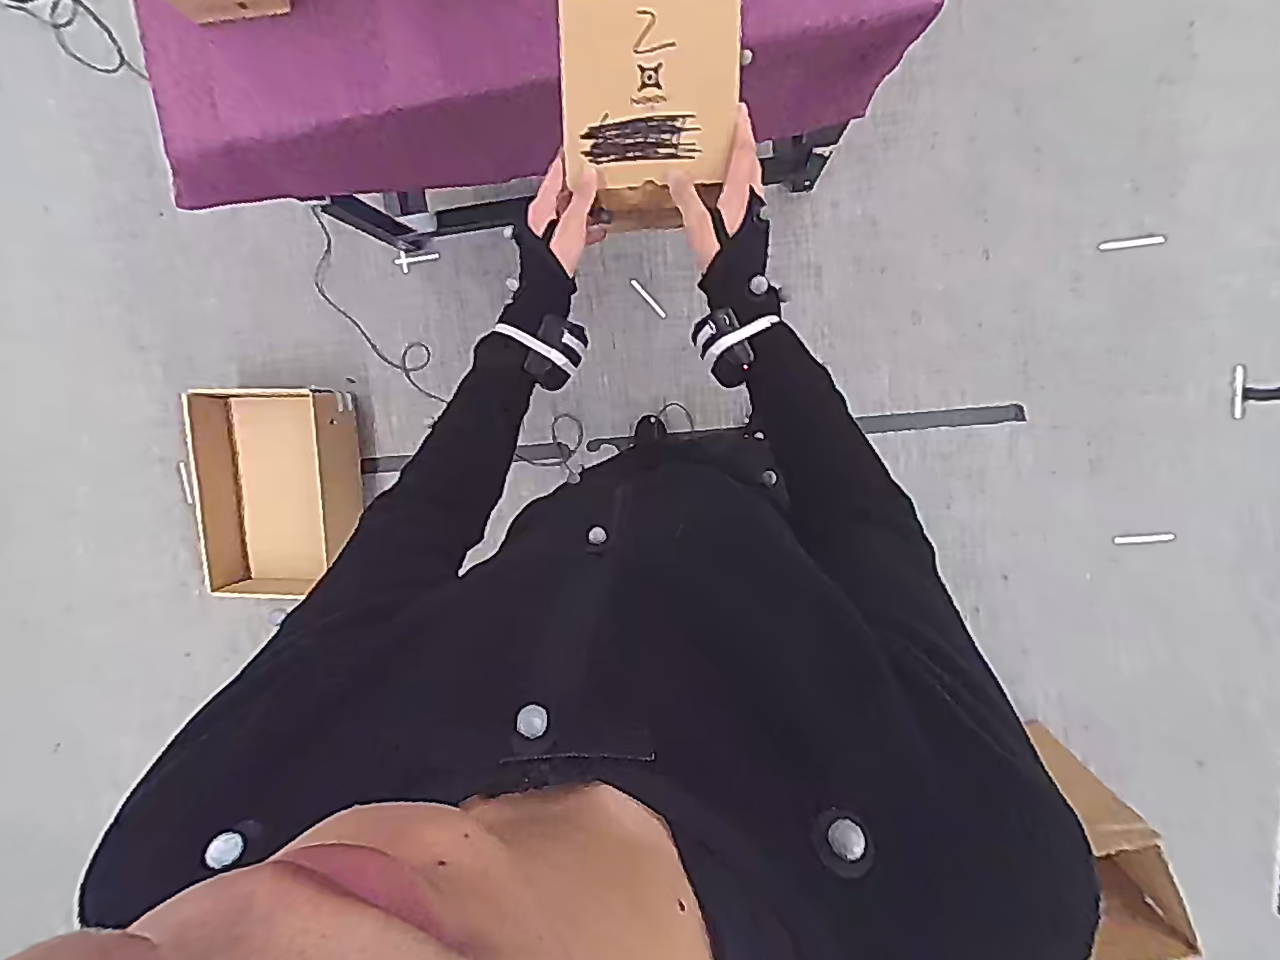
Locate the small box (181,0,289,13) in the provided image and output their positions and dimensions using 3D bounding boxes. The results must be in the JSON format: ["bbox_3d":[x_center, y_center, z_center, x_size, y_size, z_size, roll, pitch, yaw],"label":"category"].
[{"bbox_3d":[-0.624,-0.796,0.751,0.168,0.176,0.179,-1,98,5],"label":"small box"}]
